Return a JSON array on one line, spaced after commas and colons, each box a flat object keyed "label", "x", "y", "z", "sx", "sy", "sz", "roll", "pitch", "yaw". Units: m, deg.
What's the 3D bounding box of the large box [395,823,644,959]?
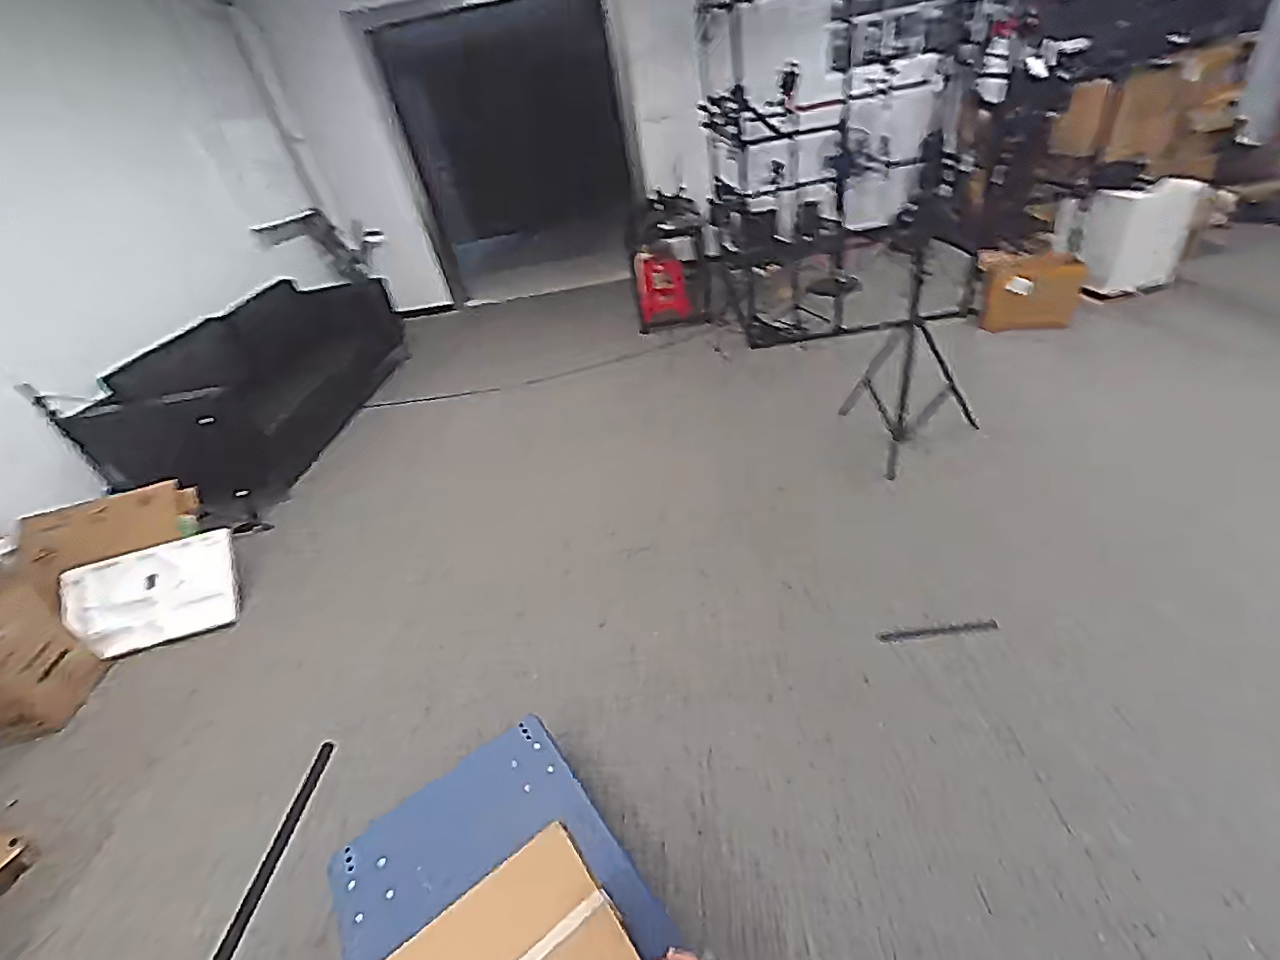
[{"label": "large box", "x": -0.192, "y": 0.901, "z": 0.893, "sx": 0.408, "sy": 0.320, "sz": 0.320, "roll": -29, "pitch": 38, "yaw": -25}]
